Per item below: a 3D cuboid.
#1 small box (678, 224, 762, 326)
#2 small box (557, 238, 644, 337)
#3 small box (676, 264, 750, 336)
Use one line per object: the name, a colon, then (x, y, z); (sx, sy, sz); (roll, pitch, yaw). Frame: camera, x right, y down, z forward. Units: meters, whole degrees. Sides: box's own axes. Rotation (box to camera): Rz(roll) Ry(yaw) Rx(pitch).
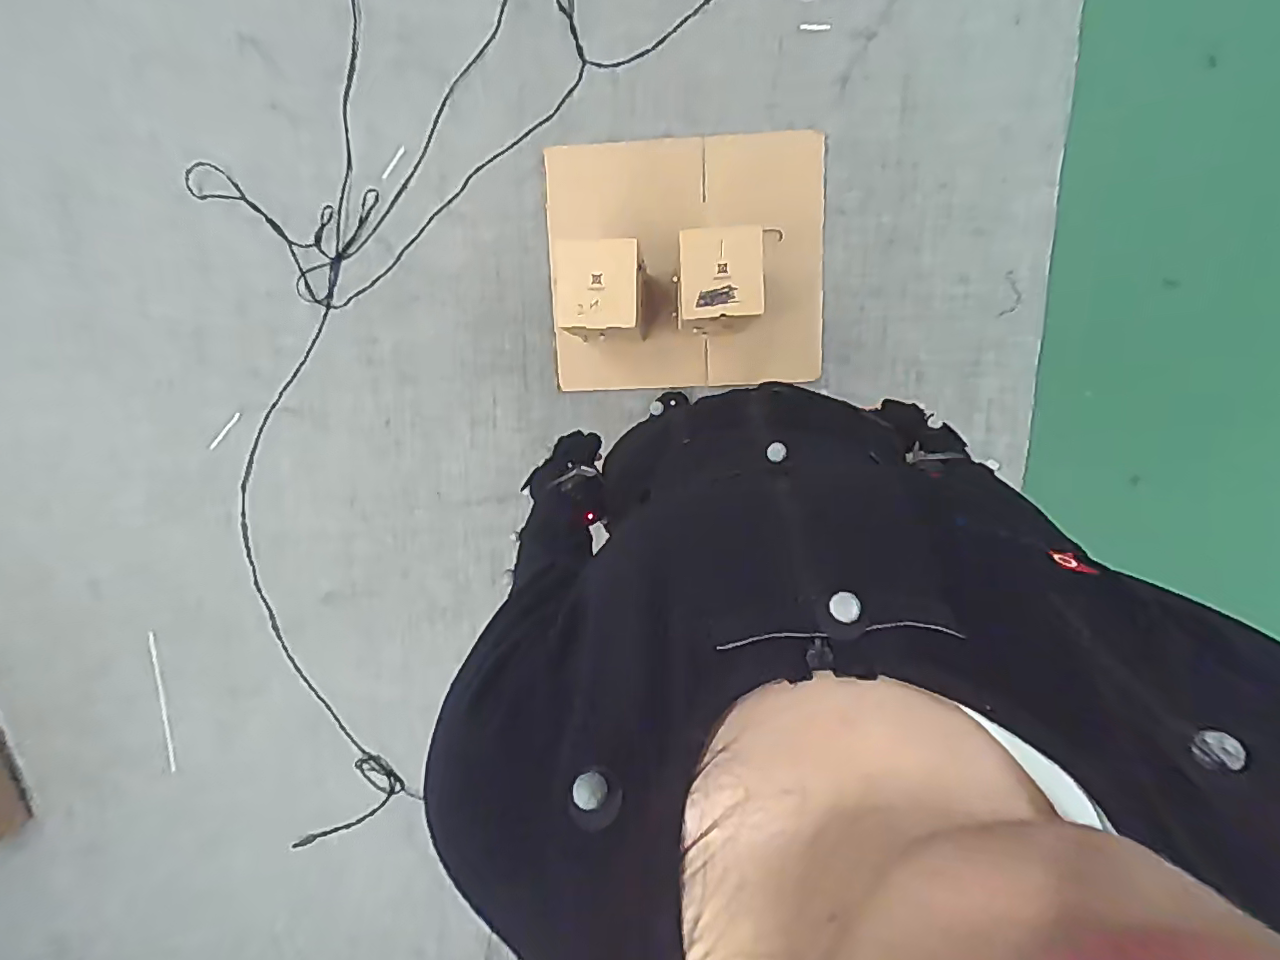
small box: (0.166, -0.426, 1.152); (0.168, 0.176, 0.179); (-3, 99, 4)
small box: (-0.081, -0.408, 1.167); (0.168, 0.176, 0.179); (2, 100, 4)
small box: (0.173, -0.451, 1.315); (0.168, 0.176, 0.179); (-2, 100, 3)
